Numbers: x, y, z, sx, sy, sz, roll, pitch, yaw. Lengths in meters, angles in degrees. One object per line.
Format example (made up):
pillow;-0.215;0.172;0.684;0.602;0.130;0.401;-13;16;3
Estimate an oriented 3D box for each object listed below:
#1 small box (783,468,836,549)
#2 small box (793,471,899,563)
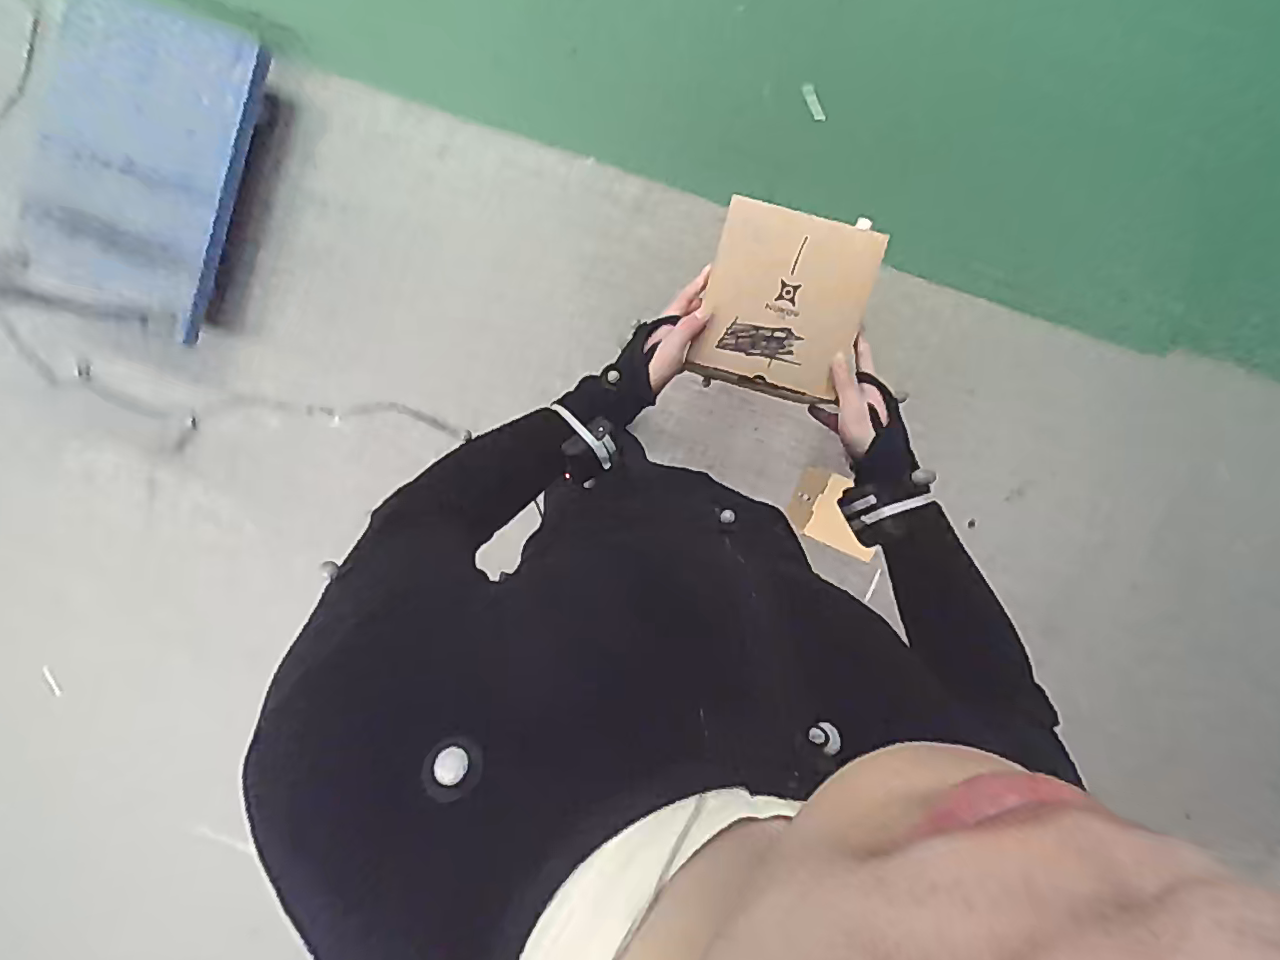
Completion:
small box;0.522;0.077;1.528;0.168;0.176;0.179;27;97;2
small box;0.507;0.085;1.365;0.179;0.176;0.168;26;96;3
